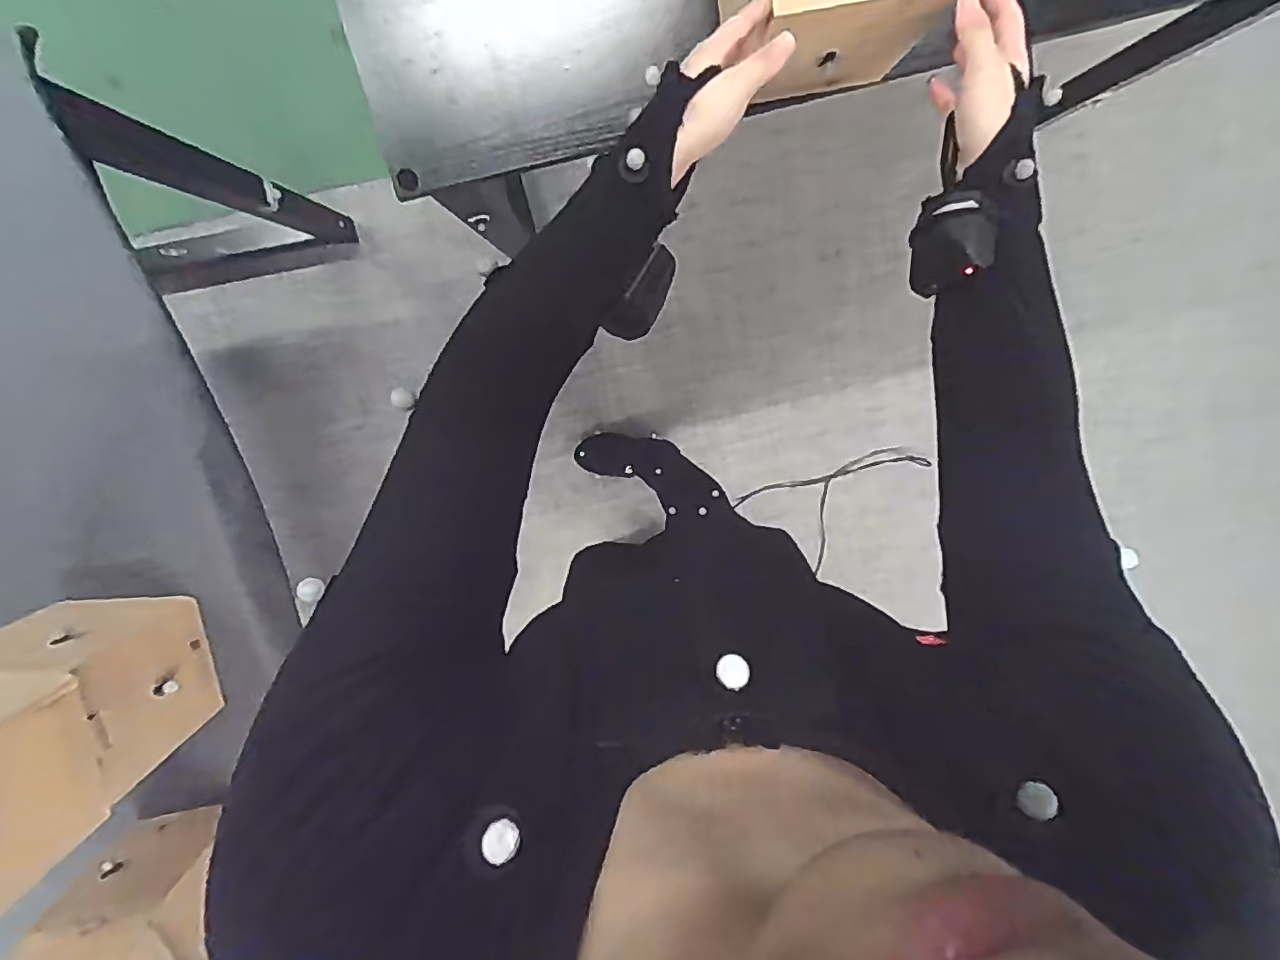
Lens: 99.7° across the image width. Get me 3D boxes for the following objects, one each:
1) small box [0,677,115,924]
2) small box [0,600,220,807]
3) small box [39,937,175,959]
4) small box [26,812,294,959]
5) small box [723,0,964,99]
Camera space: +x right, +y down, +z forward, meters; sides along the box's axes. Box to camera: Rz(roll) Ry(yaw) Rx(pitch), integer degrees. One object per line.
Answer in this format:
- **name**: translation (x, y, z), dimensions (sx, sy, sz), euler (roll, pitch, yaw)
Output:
- **small box**: translation (-0.626, 0.287, 0.471), dimensions (0.168, 0.176, 0.179), euler (3, 105, -1)
- **small box**: translation (-0.636, 0.252, 0.630), dimensions (0.179, 0.176, 0.168), euler (-3, 105, -1)
- **small box**: translation (-0.601, 0.621, 0.556), dimensions (0.179, 0.176, 0.168), euler (-16, 103, 5)
- **small box**: translation (-0.607, 0.573, 0.713), dimensions (0.168, 0.176, 0.179), euler (-12, 104, 3)
- **small box**: translation (0.171, -0.471, 0.478), dimensions (0.168, 0.176, 0.179), euler (-10, 104, 0)
